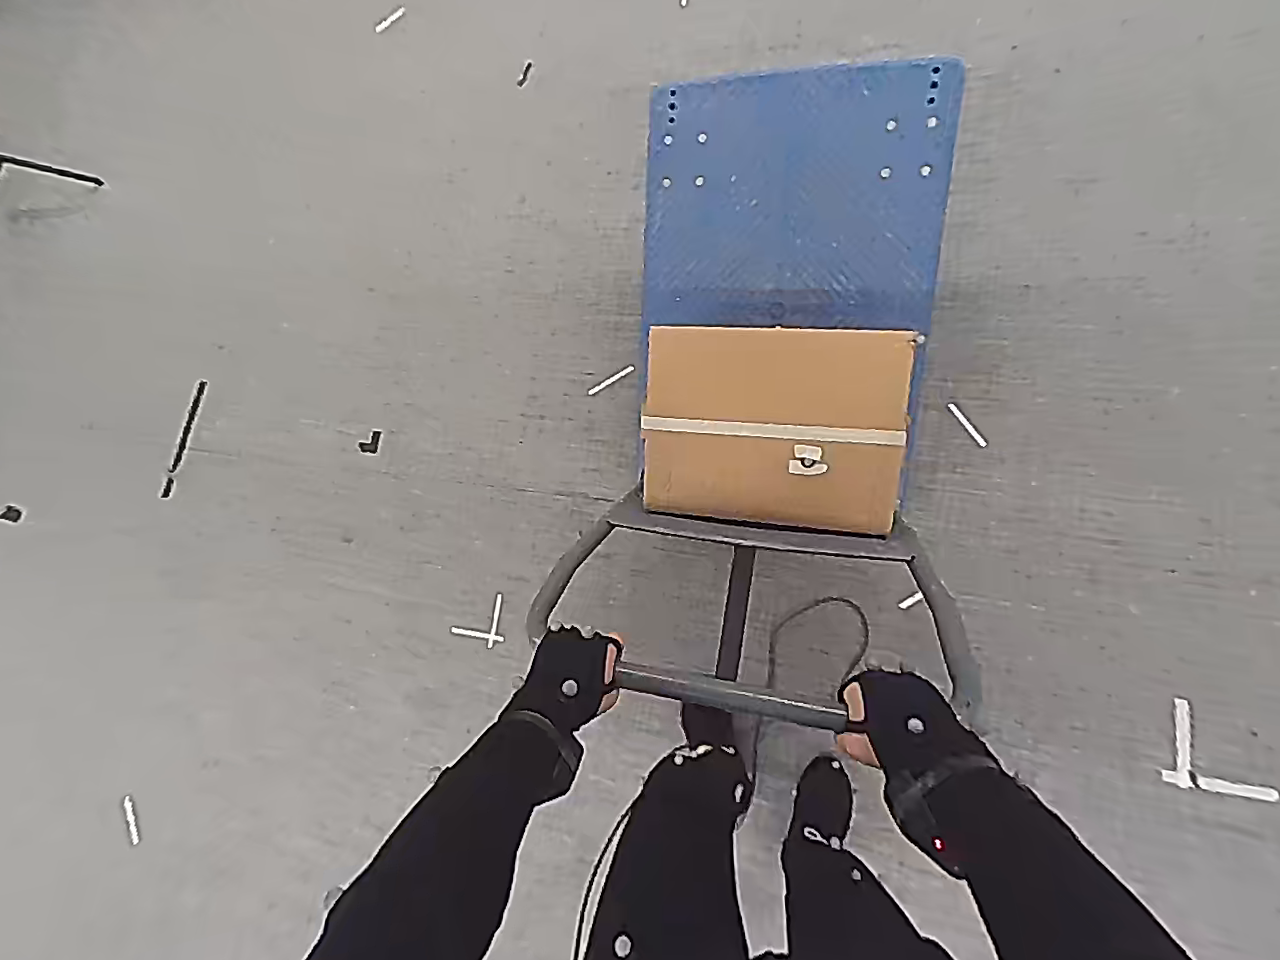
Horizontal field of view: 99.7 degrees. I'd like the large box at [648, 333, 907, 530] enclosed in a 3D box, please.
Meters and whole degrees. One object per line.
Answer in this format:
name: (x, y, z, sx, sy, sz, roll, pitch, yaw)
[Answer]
large box: (0.242, -0.105, 1.026, 0.408, 0.320, 0.320, 4, 102, 14)
